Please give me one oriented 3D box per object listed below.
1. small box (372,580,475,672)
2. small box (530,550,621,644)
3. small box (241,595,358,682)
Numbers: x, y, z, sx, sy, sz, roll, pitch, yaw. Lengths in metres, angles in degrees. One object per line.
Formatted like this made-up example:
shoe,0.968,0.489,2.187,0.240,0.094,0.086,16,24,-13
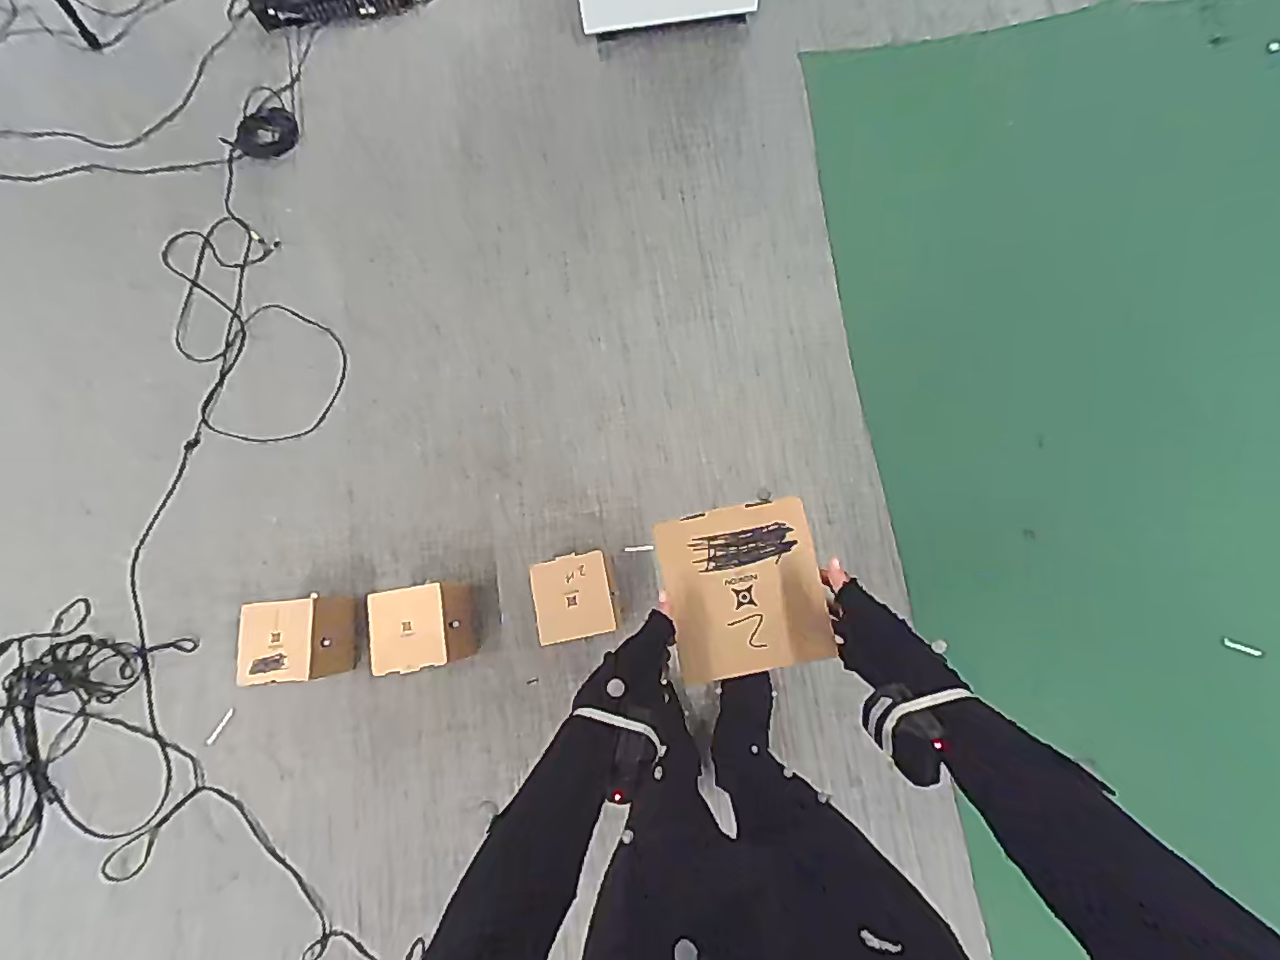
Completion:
small box,-0.494,0.332,1.249,0.168,0.176,0.179,-10,79,2
small box,-0.141,0.265,1.240,0.168,0.176,0.179,-12,78,0
small box,-0.783,0.363,1.259,0.168,0.176,0.179,-5,77,2
